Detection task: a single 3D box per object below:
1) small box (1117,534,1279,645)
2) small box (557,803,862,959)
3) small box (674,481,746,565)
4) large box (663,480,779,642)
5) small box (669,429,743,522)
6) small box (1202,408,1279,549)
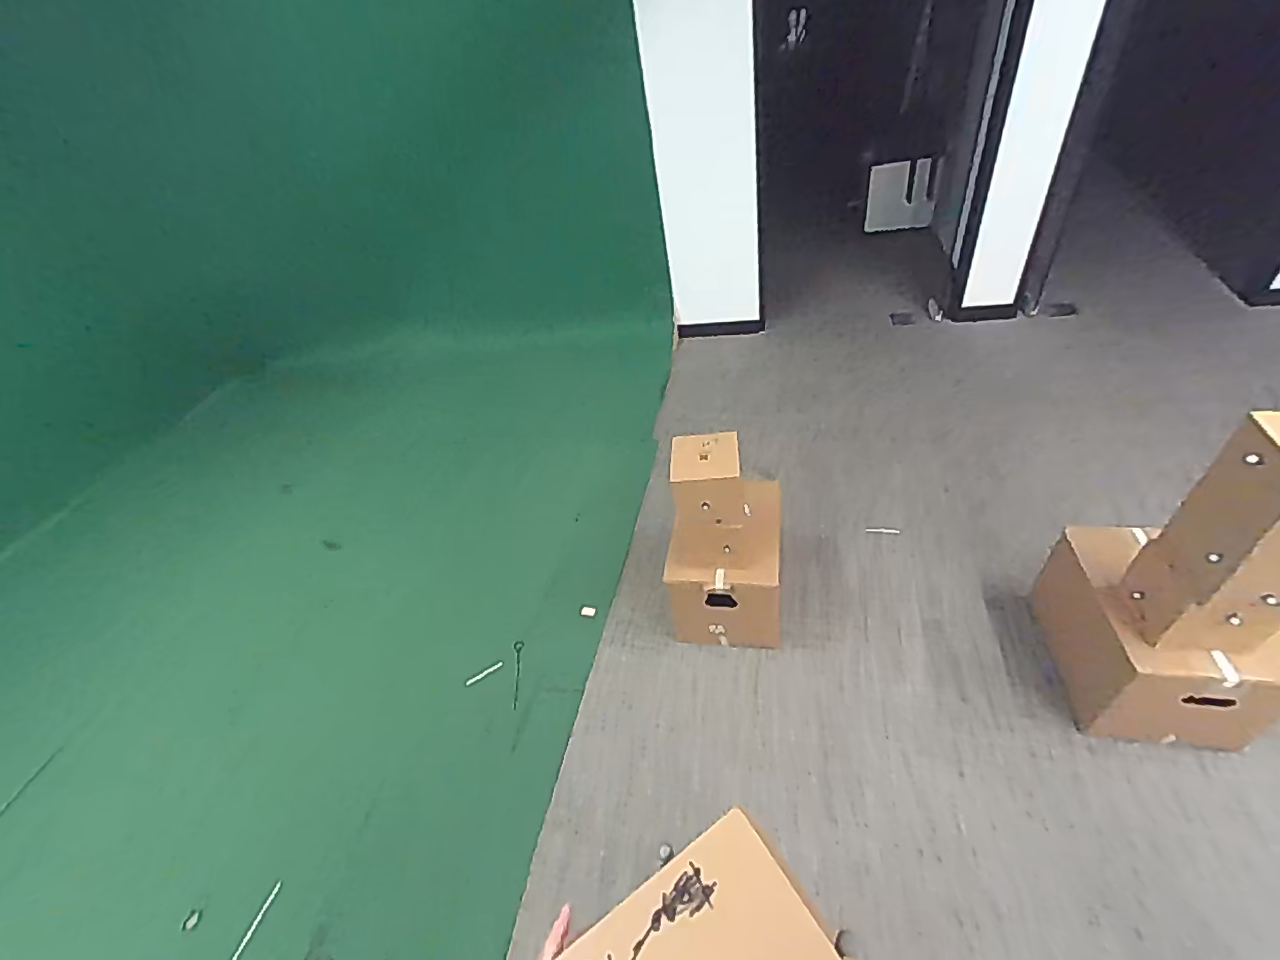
[{"bbox_3d":[1.154,0.228,1.120,0.179,0.176,0.168,-2,43,14],"label":"small box"},{"bbox_3d":[0.073,0.371,0.393,0.168,0.176,0.179,-36,54,-9],"label":"small box"},{"bbox_3d":[0.198,0.119,1.474,0.179,0.176,0.168,-2,42,14],"label":"small box"},{"bbox_3d":[0.269,0.248,1.682,0.320,0.320,0.408,0,43,14],"label":"large box"},{"bbox_3d":[0.170,-0.005,1.370,0.168,0.176,0.179,-4,42,10],"label":"small box"},{"bbox_3d":[1.099,-0.001,0.889,0.168,0.176,0.179,0,46,16],"label":"small box"}]
